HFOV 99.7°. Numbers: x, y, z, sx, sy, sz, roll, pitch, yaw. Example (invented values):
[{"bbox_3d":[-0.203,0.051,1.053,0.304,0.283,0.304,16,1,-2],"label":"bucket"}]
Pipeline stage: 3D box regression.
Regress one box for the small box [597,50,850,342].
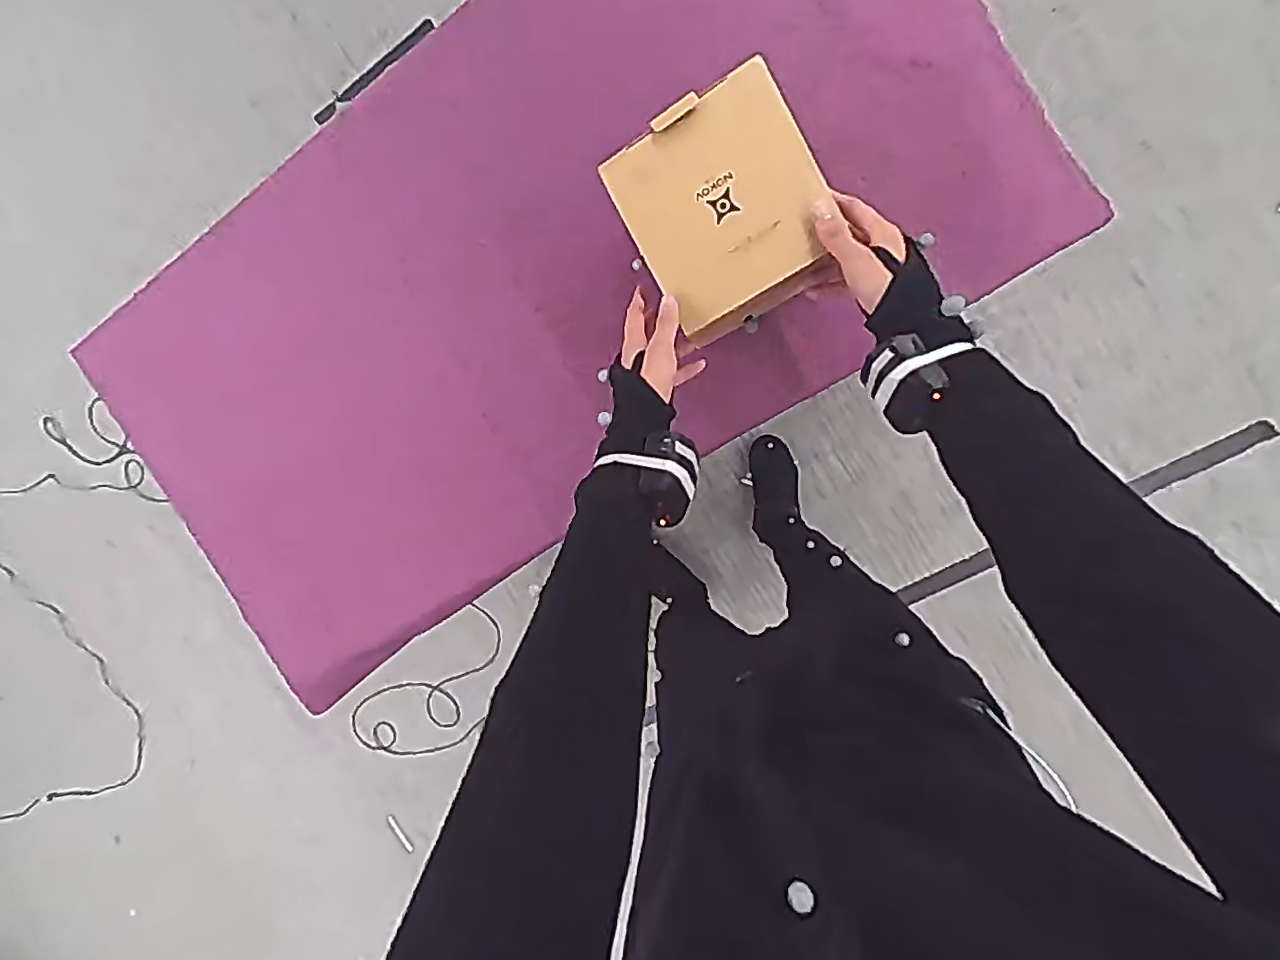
[{"bbox_3d":[0.082,-0.258,0.545,0.168,0.176,0.179,-28,94,14],"label":"small box"}]
